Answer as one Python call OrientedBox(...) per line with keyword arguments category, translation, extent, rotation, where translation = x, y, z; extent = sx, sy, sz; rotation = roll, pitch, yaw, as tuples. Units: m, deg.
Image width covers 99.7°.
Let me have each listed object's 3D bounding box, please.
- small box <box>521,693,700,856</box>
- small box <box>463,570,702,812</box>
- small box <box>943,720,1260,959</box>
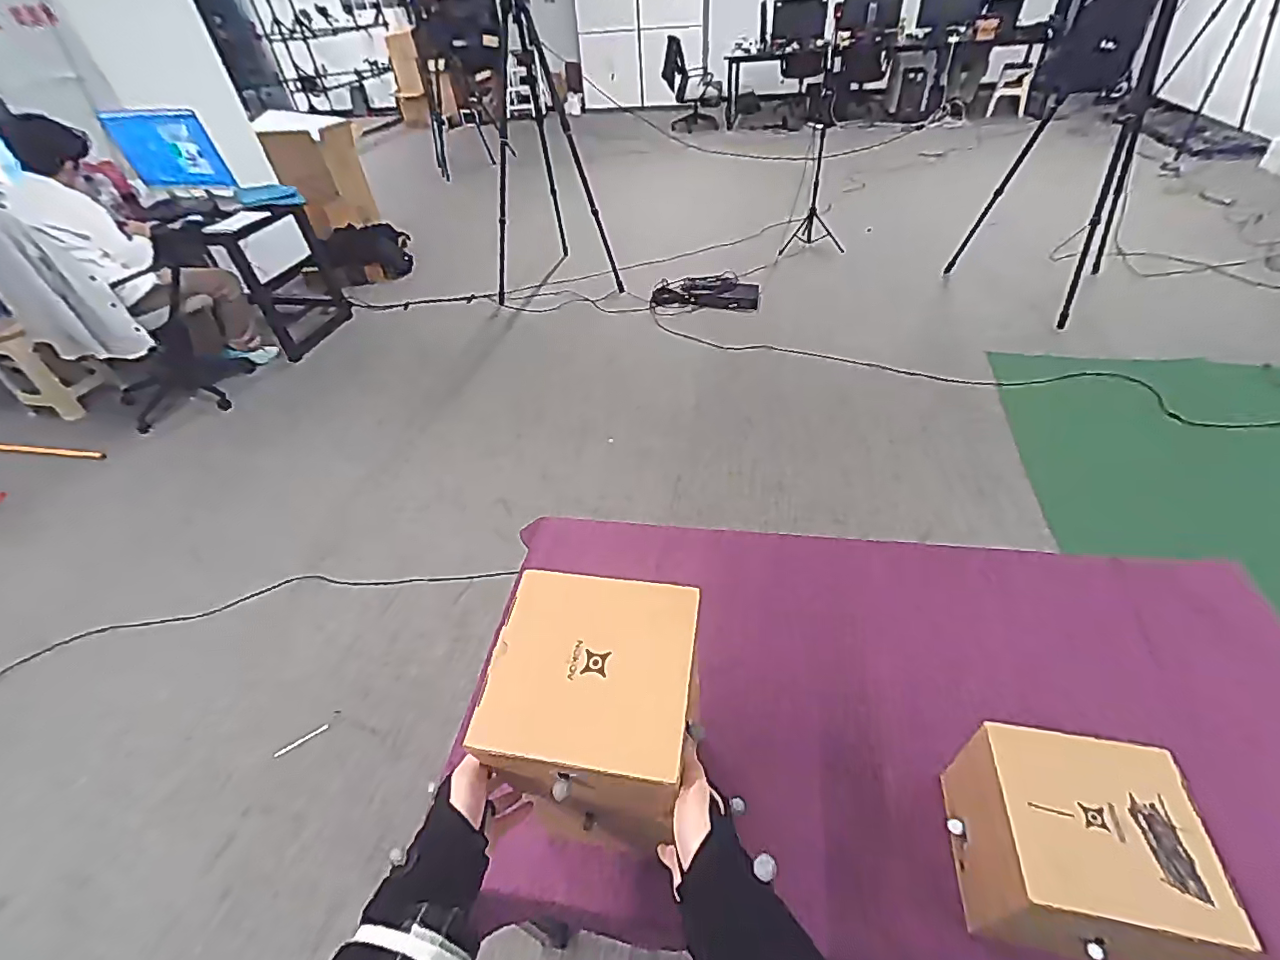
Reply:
OrientedBox(category="small box", translation=(-0.023, 0.339, 0.670), extent=(0.179, 0.176, 0.168), rotation=(5, 44, 13))
OrientedBox(category="small box", translation=(-0.034, 0.206, 0.521), extent=(0.179, 0.176, 0.168), rotation=(3, 52, 11))
OrientedBox(category="small box", translation=(0.450, 0.383, 0.570), extent=(0.179, 0.176, 0.168), rotation=(5, 43, 13))
